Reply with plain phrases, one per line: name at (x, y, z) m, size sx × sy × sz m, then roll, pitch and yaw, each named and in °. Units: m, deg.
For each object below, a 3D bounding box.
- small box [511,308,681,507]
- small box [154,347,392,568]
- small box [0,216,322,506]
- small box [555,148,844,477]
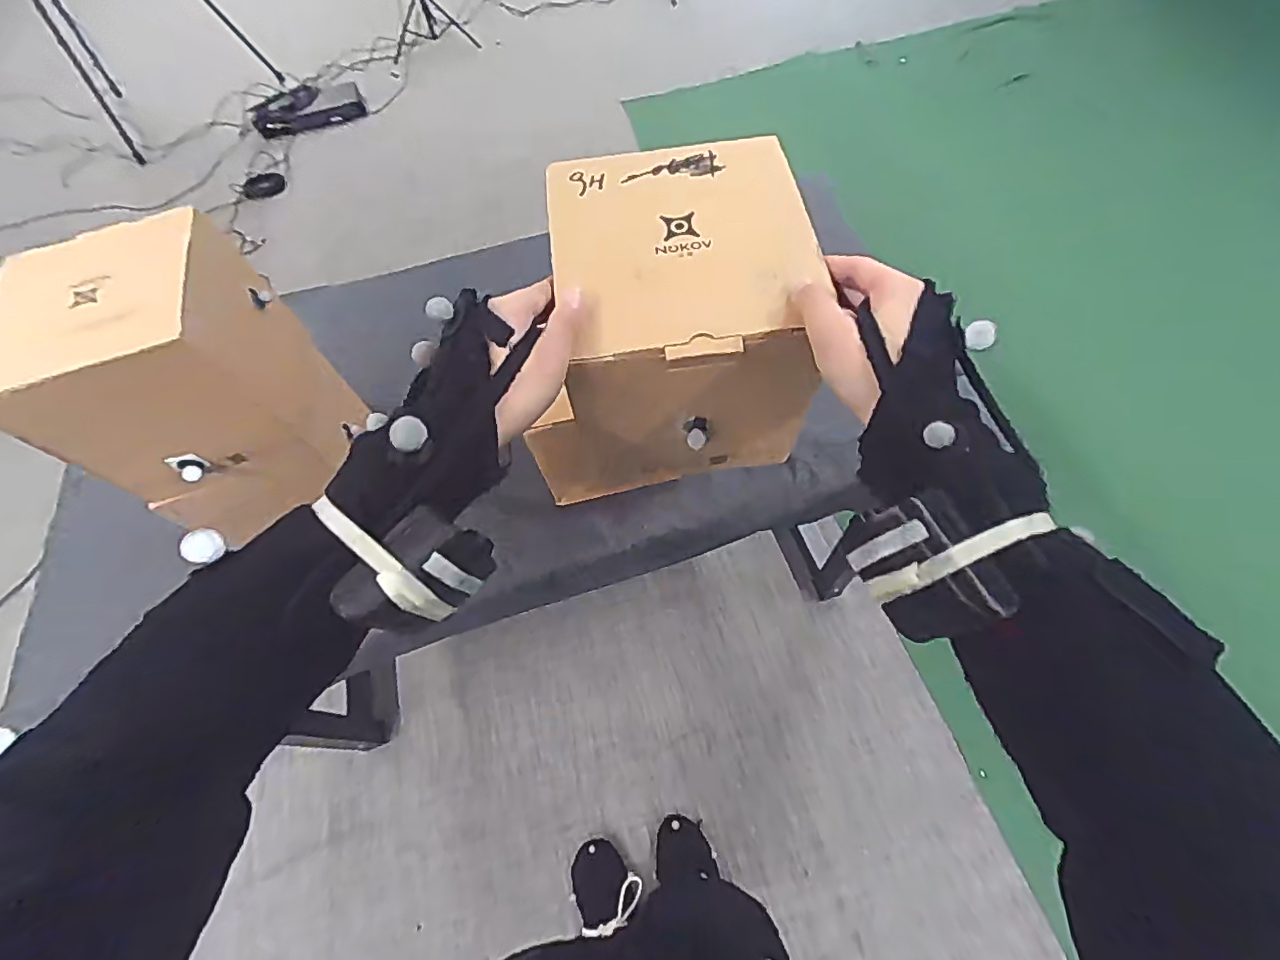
small box at (-0.048, -0.093, 0.657) m, size 0.168 × 0.176 × 0.179 m, roll -14°, pitch 60°, yaw -3°
small box at (-0.422, -0.022, 0.648) m, size 0.168 × 0.176 × 0.179 m, roll -20°, pitch 61°, yaw -6°
small box at (-0.429, -0.104, 0.508) m, size 0.168 × 0.176 × 0.179 m, roll -20°, pitch 62°, yaw -5°
small box at (0.033, -0.112, 0.417) m, size 0.168 × 0.176 × 0.179 m, roll -7°, pitch 65°, yaw -1°
